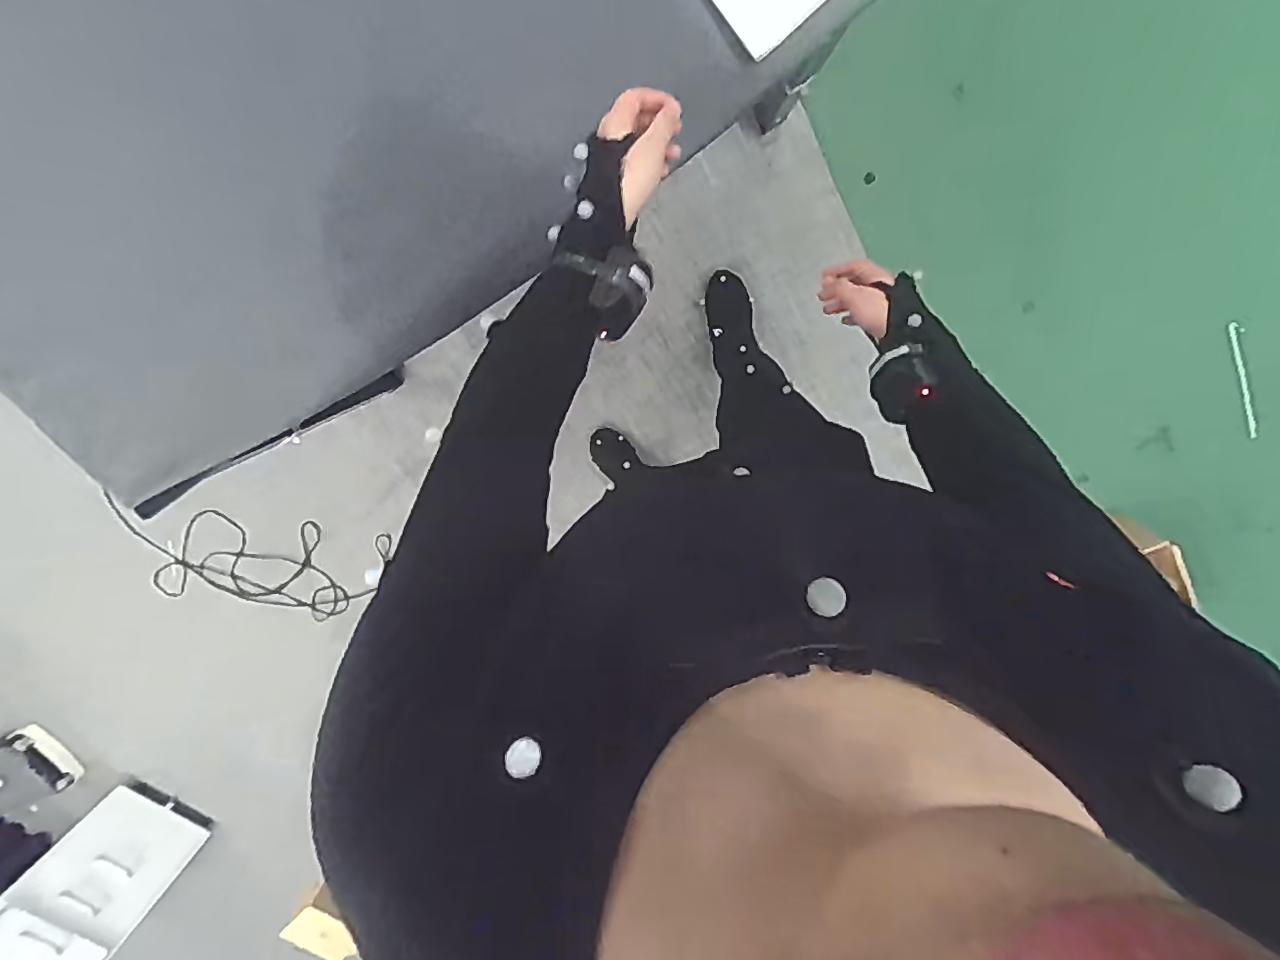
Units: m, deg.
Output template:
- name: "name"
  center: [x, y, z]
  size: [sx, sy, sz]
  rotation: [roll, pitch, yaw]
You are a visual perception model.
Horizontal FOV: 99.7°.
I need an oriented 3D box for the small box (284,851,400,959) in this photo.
- name: "small box"
  center: [-0.781, 1.127, 1.433]
  size: [0.179, 0.176, 0.168]
  rotation: [40, 108, -12]
